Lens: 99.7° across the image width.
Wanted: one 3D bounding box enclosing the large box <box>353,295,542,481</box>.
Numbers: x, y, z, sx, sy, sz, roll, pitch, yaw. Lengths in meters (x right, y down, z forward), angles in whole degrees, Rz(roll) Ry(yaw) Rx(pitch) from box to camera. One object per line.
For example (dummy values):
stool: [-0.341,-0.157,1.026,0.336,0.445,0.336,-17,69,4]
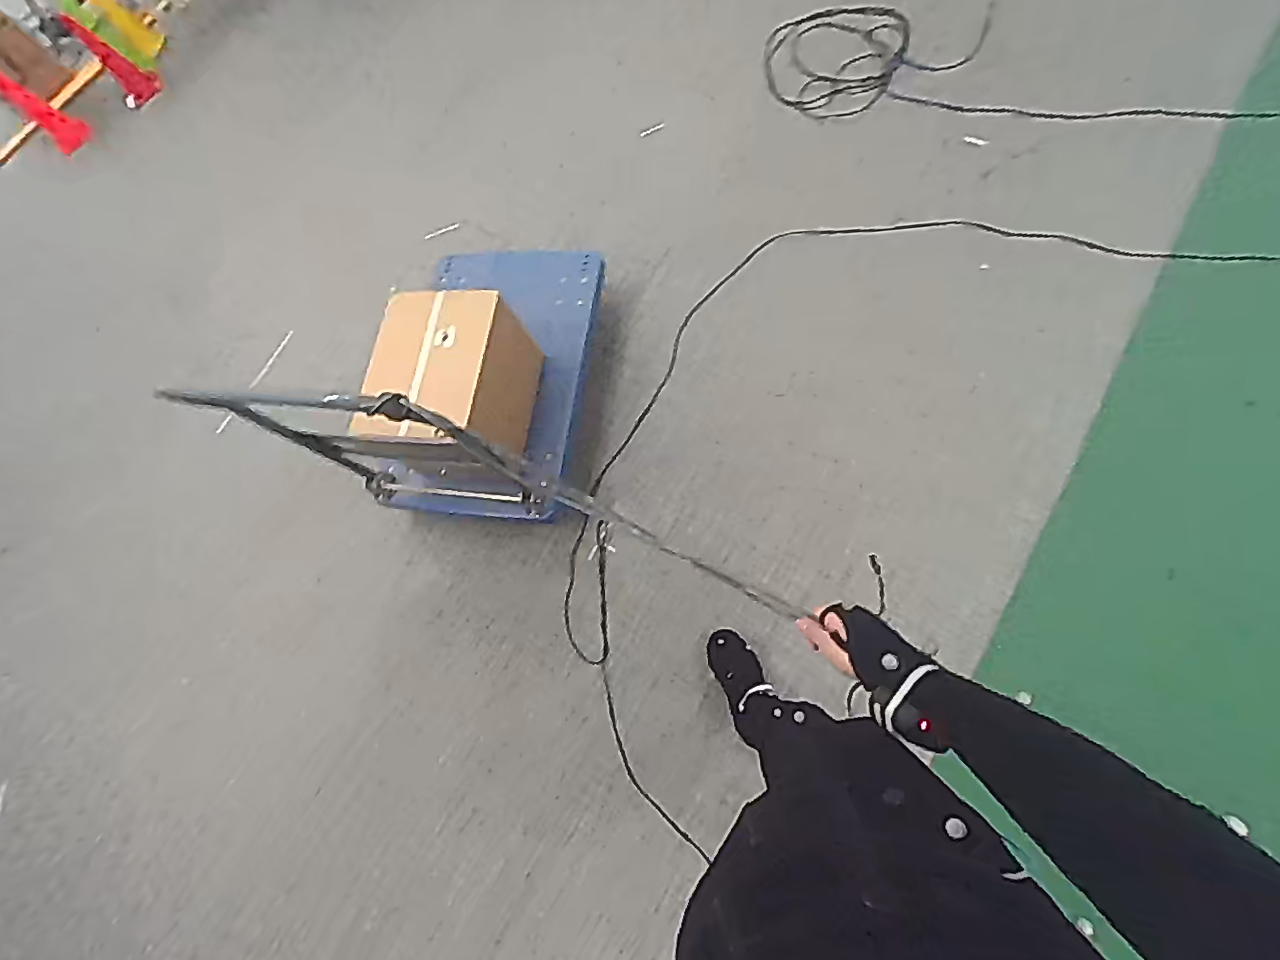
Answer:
large box: [-0.491,-0.232,1.457,0.320,0.320,0.408,4,72,13]
